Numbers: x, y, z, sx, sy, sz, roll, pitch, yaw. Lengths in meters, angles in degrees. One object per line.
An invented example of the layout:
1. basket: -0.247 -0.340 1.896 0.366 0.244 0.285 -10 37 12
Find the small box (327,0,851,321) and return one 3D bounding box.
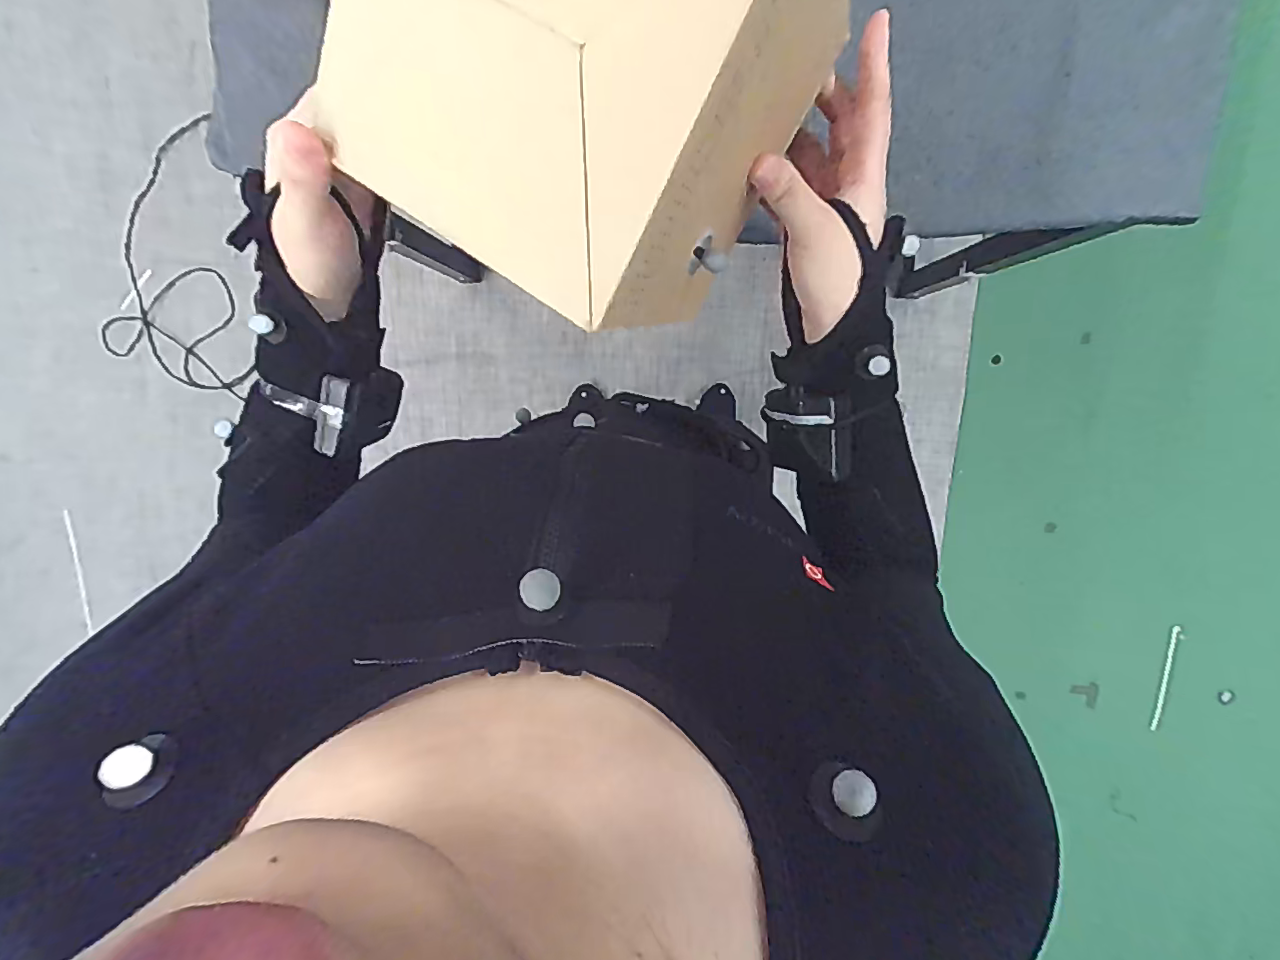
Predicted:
1. small box: -0.020 -0.196 0.269 0.168 0.176 0.179 35 118 6
